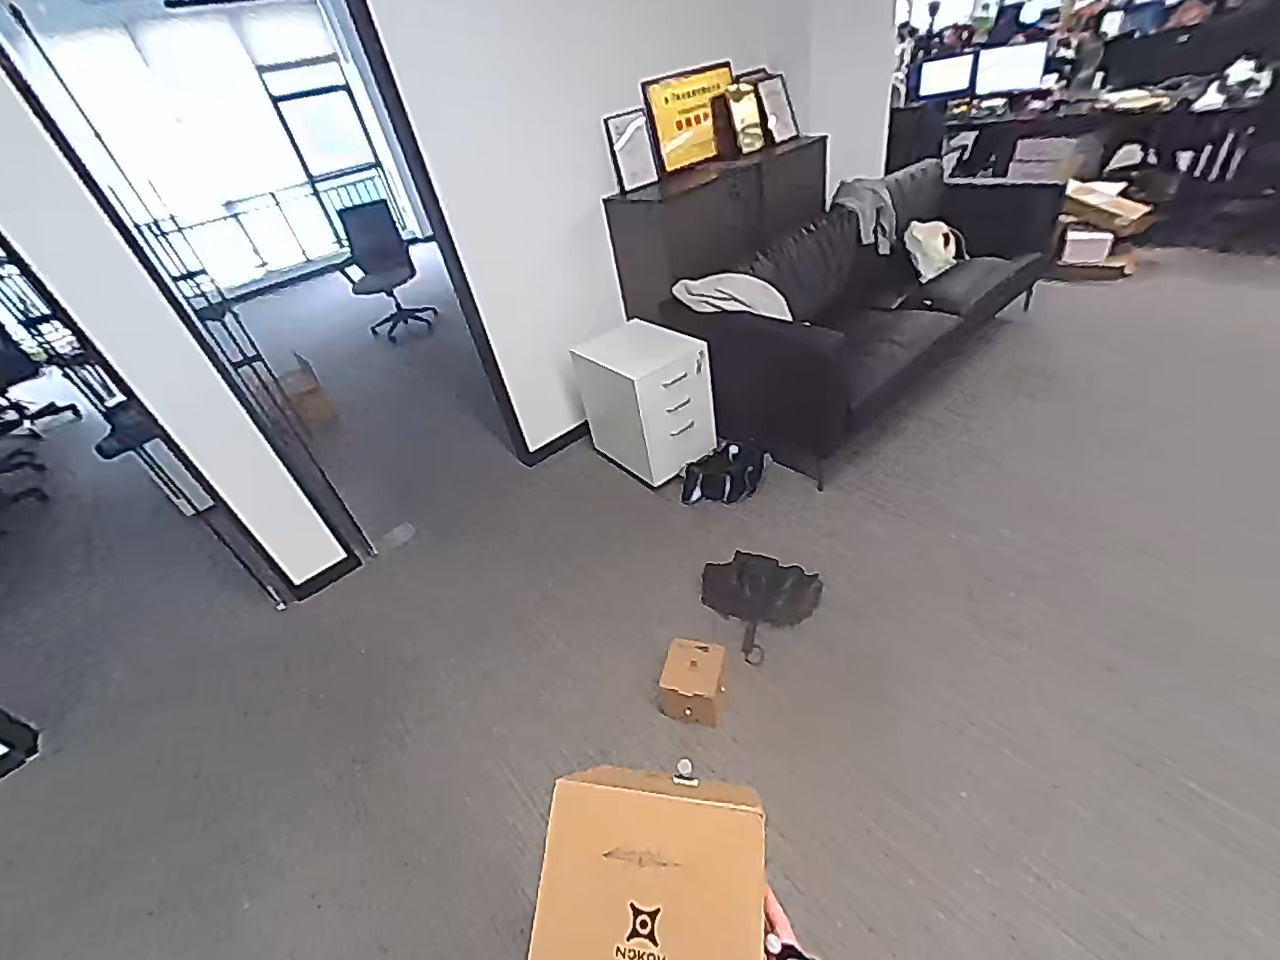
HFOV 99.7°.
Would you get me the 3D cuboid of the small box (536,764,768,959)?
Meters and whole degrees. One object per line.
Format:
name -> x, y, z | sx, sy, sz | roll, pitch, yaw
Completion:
small box -> 0.020, 0.356, 0.463 | 0.168, 0.176, 0.179 | 2, 66, 9
